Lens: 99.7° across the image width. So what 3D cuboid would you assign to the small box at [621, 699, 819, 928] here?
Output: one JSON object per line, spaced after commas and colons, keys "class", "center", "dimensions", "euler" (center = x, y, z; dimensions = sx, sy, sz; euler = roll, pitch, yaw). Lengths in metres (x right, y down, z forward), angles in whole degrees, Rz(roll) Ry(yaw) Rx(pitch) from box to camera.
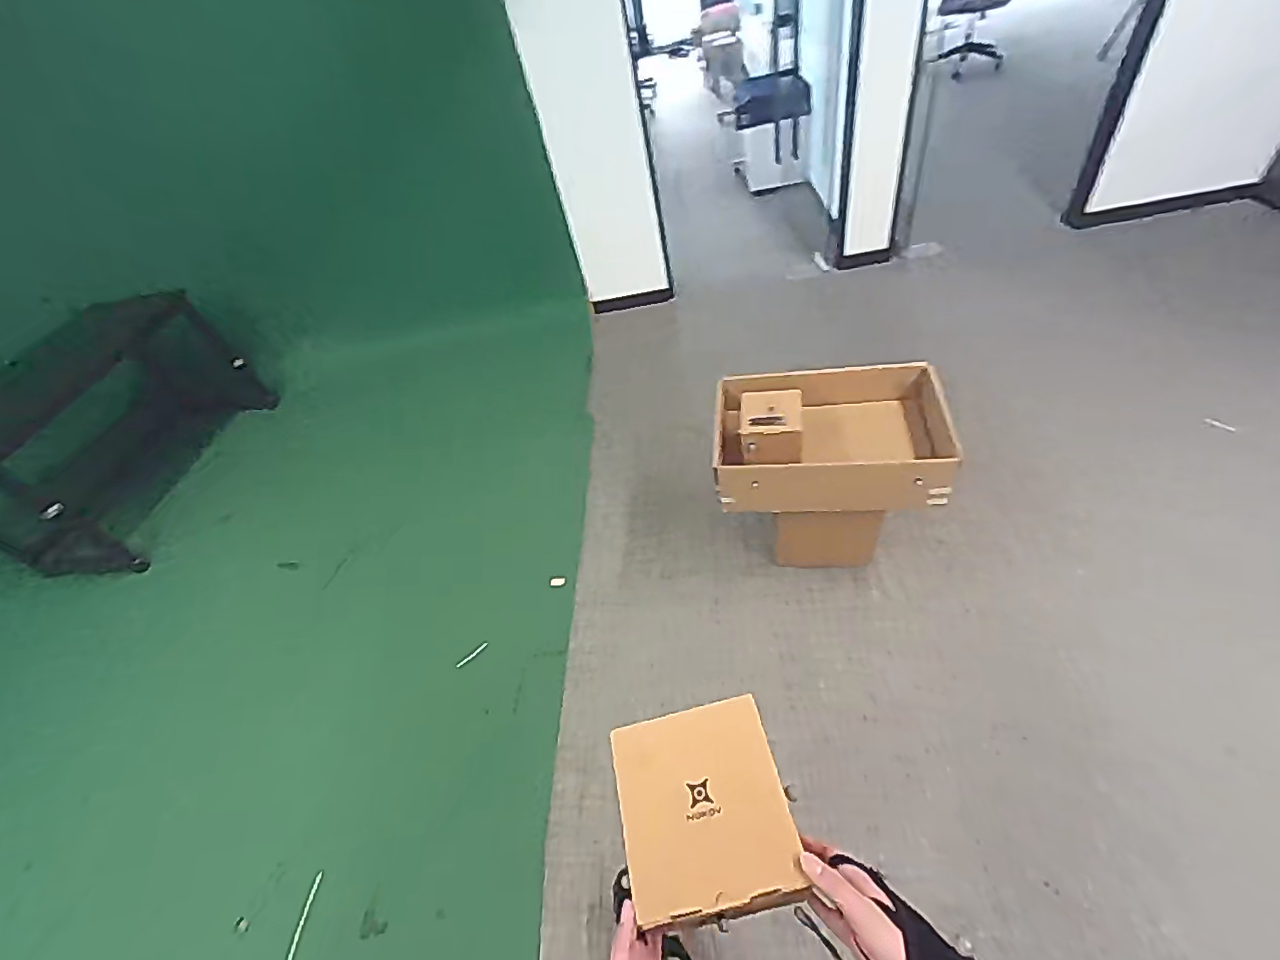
{"class": "small box", "center": [0.081, 0.372, 0.600], "dimensions": [0.168, 0.176, 0.179], "euler": [-13, 50, 1]}
